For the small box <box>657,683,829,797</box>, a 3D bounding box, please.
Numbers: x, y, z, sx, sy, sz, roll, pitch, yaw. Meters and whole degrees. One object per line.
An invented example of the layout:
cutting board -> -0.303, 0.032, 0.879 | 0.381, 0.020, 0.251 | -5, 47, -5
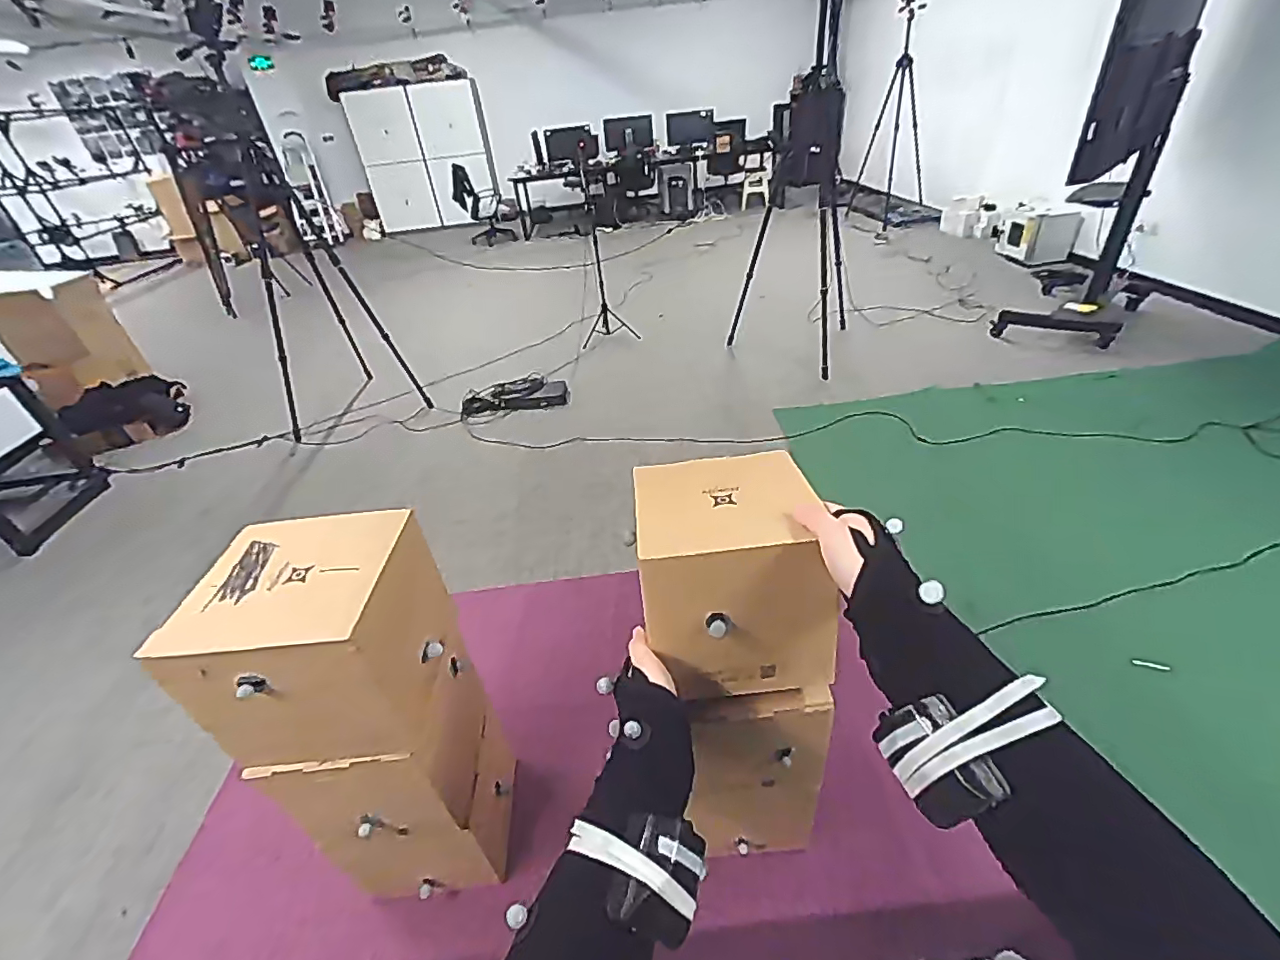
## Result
small box -> 0.105, 0.243, 0.627 | 0.168, 0.176, 0.179 | -7, 35, 0

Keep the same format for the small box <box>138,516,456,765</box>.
small box -> -0.304, 0.157, 0.530 | 0.179, 0.176, 0.168 | -5, 36, 1

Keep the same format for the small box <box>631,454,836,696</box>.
small box -> 0.084, 0.093, 0.538 | 0.168, 0.176, 0.179 | -7, 26, 1

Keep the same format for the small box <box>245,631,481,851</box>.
small box -> -0.294, 0.291, 0.625 | 0.168, 0.176, 0.179 | -7, 36, 0

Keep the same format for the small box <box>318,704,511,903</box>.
small box -> -0.277, 0.427, 0.718 | 0.179, 0.176, 0.168 | -7, 35, -2
